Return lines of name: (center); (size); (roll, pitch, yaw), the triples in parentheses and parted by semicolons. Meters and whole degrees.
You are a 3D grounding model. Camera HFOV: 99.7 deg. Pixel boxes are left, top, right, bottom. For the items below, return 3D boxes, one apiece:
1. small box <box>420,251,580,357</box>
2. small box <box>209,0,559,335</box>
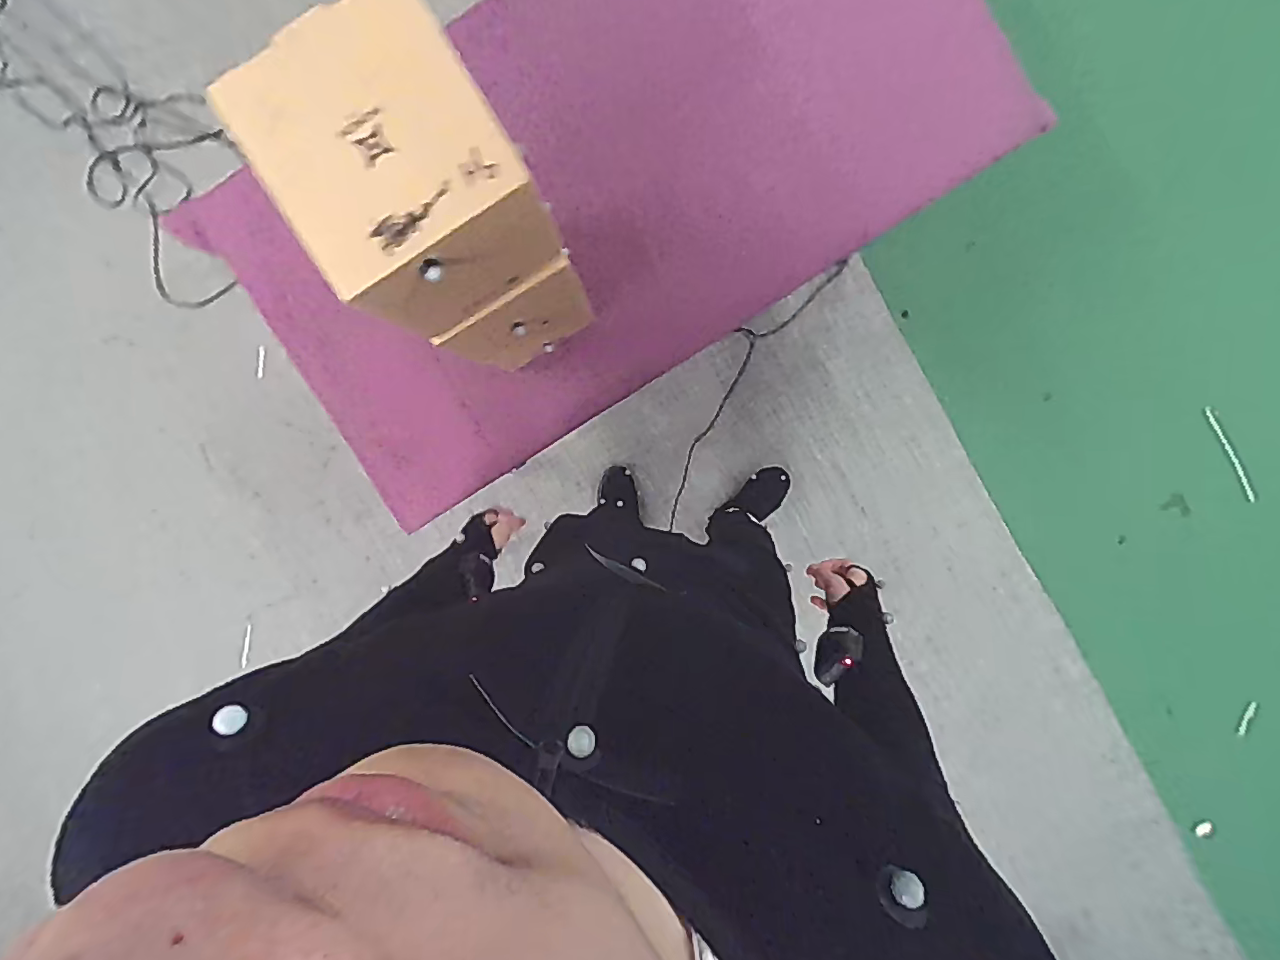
small box: (-0.184, -0.257, 0.625); (0.168, 0.176, 0.179); (-30, 94, 3)
small box: (-0.191, -0.249, 0.461); (0.168, 0.176, 0.179); (-32, 93, 4)
